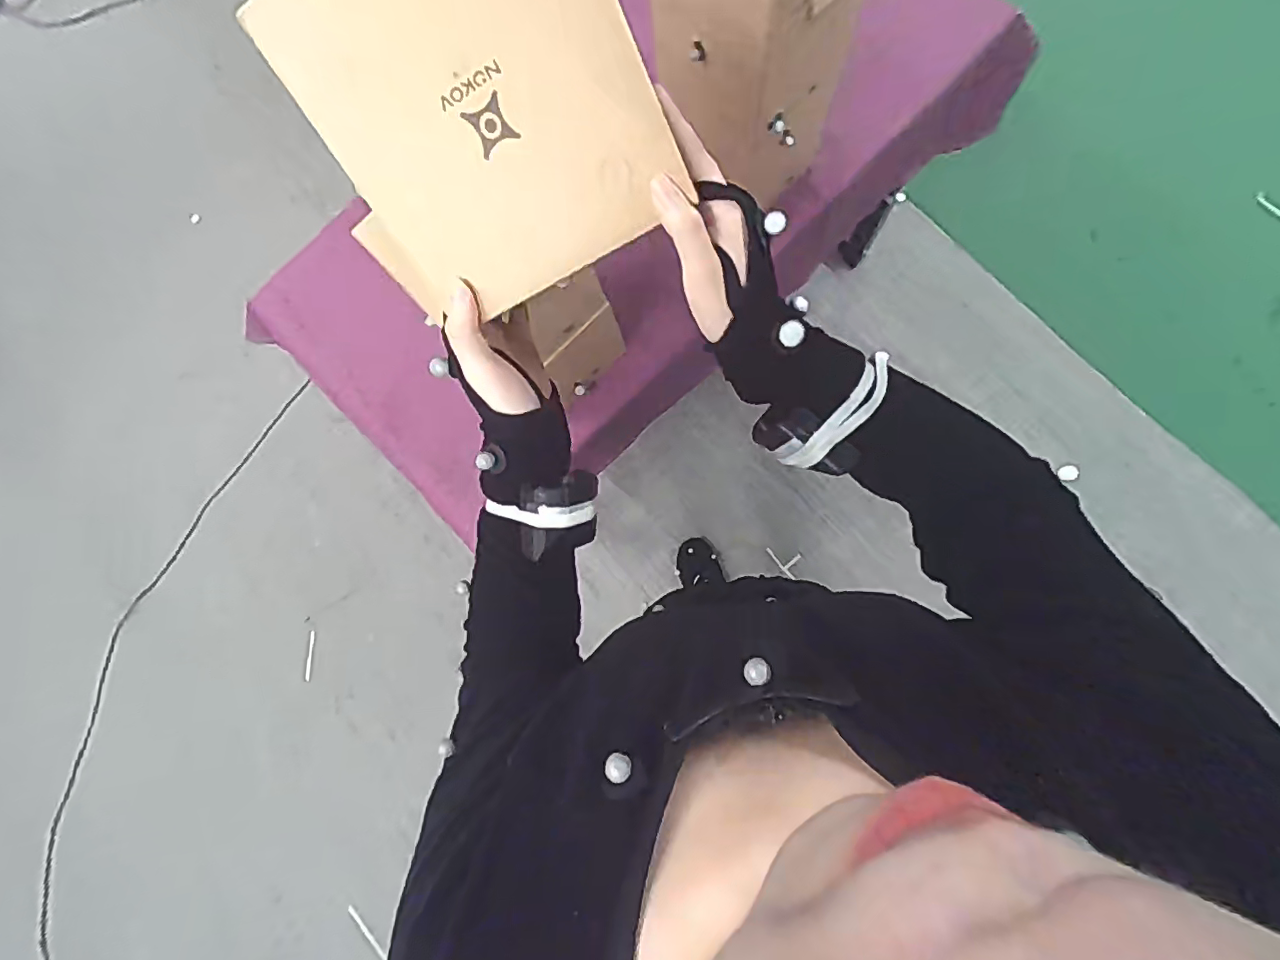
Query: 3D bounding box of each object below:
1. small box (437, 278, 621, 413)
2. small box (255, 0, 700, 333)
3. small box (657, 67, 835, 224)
[{"bbox_3d":[-0.149,-0.222,0.788,0.168,0.176,0.179,-44,81,0],"label":"small box"},{"bbox_3d":[-0.073,-0.229,0.344,0.168,0.176,0.179,-23,121,15],"label":"small box"},{"bbox_3d":[0.147,-0.520,0.791,0.168,0.176,0.179,-45,80,1],"label":"small box"}]
